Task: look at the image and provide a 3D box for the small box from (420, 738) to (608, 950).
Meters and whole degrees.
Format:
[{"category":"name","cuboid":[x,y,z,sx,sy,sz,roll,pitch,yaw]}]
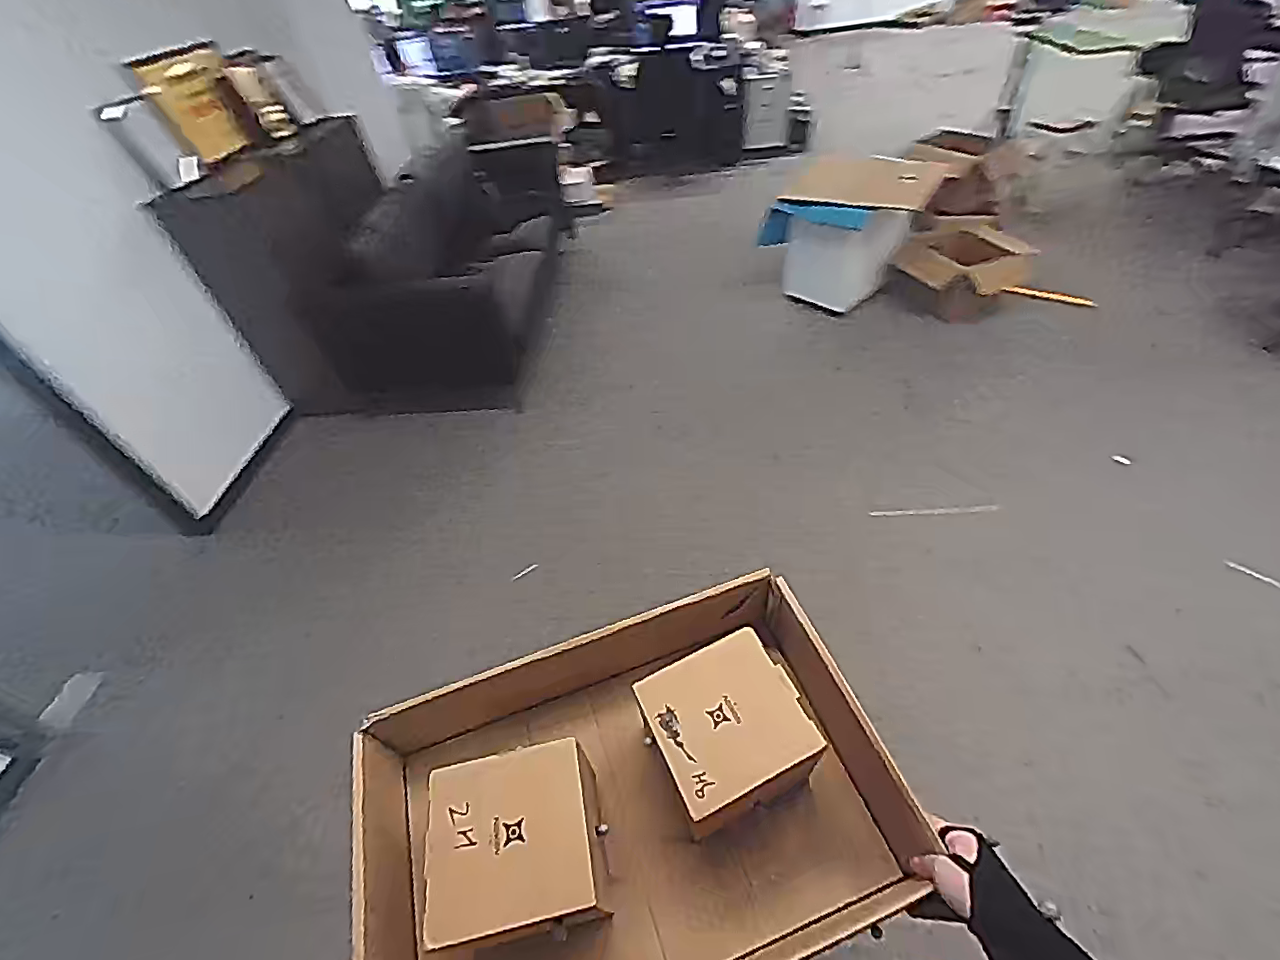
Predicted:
[{"category":"small box","cuboid":[-0.136,0.429,0.639,0.179,0.176,0.168,-11,49,-3]}]
